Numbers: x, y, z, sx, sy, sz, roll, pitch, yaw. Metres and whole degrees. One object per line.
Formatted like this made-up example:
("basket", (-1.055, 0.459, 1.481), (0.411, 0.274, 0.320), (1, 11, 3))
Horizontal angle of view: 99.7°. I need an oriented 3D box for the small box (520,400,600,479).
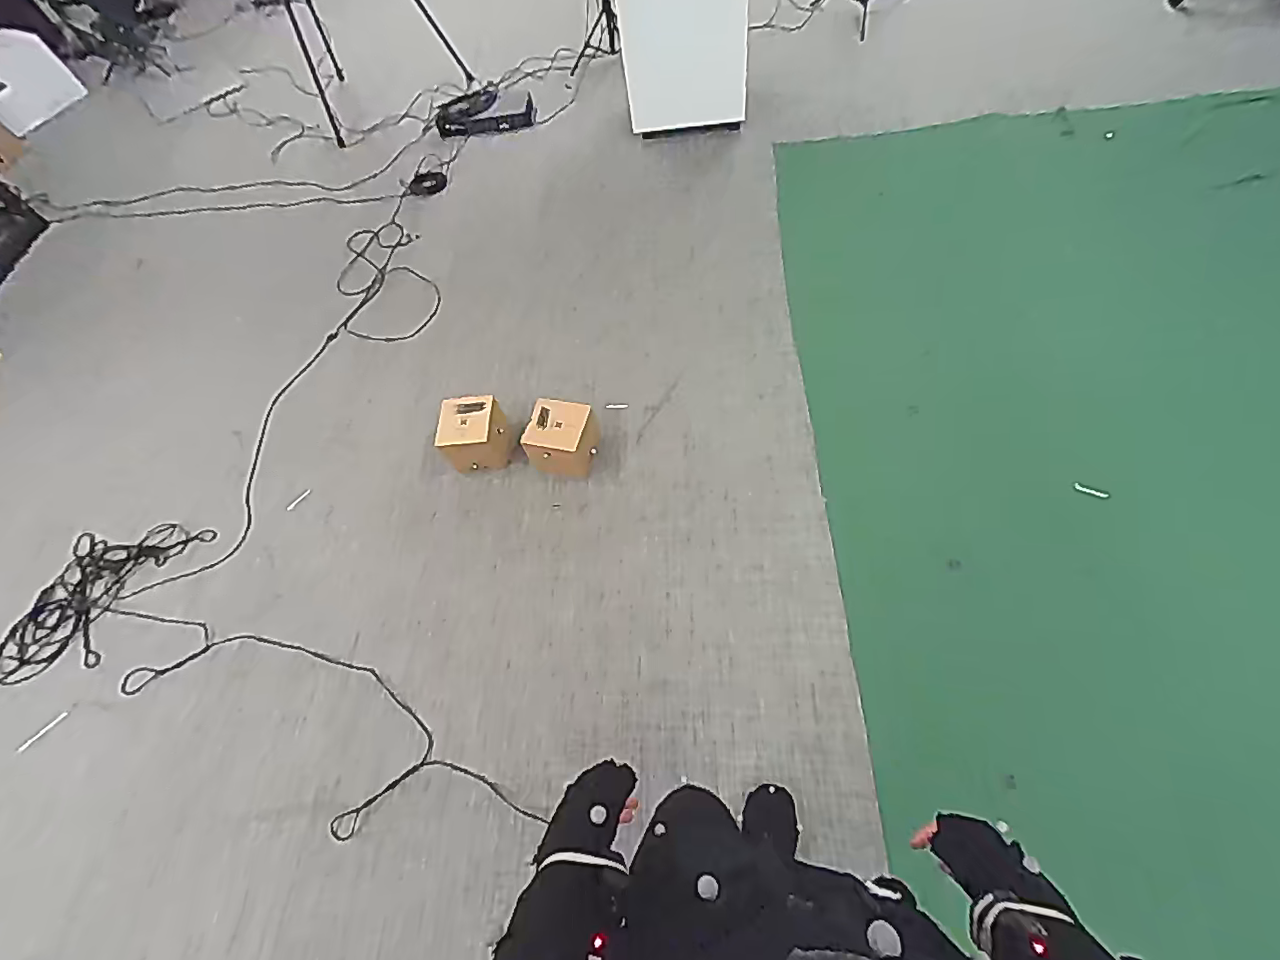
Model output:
("small box", (-0.239, -0.121, 1.667), (0.179, 0.176, 0.168), (11, 63, 13))
